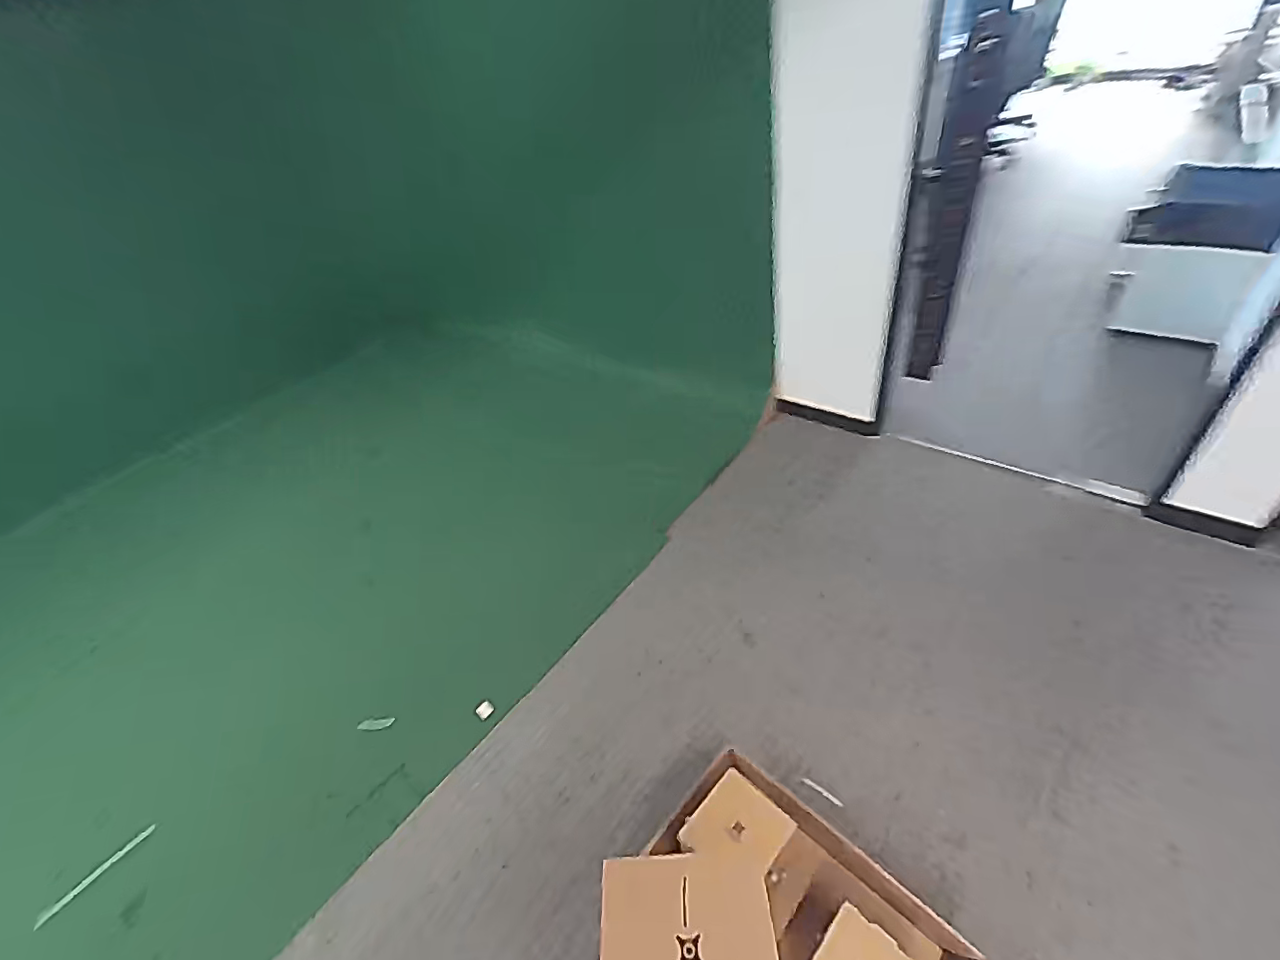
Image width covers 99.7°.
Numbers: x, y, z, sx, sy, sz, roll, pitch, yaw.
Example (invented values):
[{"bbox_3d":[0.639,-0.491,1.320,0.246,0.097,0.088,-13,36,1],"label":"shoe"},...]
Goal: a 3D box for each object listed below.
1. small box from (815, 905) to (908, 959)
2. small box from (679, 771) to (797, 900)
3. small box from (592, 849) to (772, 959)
[{"bbox_3d":[0.424,0.985,1.044,0.168,0.176,0.179,27,55,38],"label":"small box"},{"bbox_3d":[0.201,0.753,1.112,0.168,0.176,0.179,29,55,36],"label":"small box"},{"bbox_3d":[0.045,0.500,0.532,0.168,0.176,0.179,-5,35,0],"label":"small box"}]
